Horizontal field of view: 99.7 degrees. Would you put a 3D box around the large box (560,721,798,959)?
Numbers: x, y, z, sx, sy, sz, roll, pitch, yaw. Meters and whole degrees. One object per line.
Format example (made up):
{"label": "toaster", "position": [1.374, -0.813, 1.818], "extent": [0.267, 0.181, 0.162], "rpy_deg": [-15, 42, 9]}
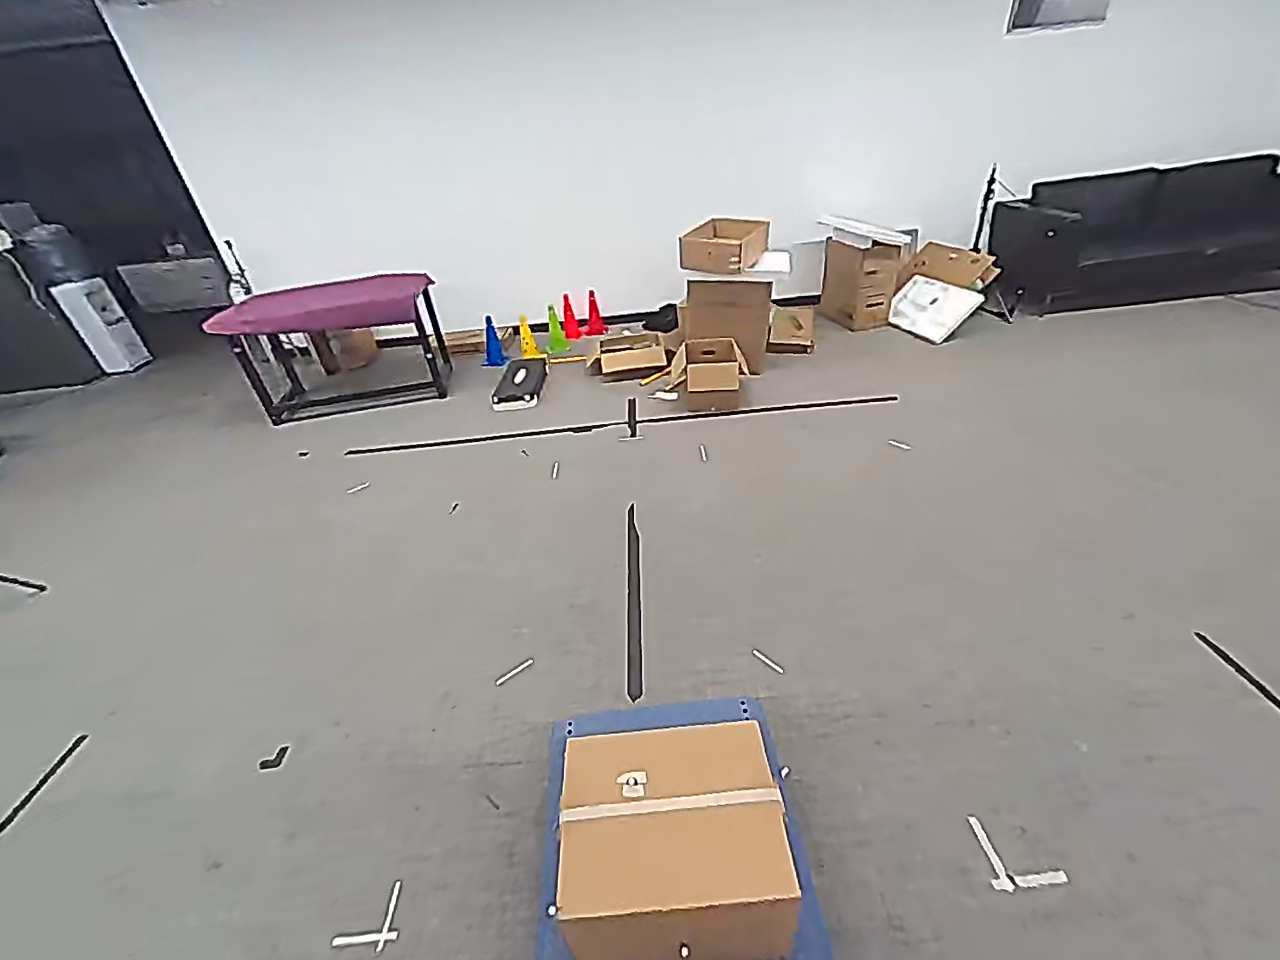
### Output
{"label": "large box", "position": [0.073, 0.740, 1.094], "extent": [0.408, 0.320, 0.320], "rpy_deg": [-7, 33, 1]}
